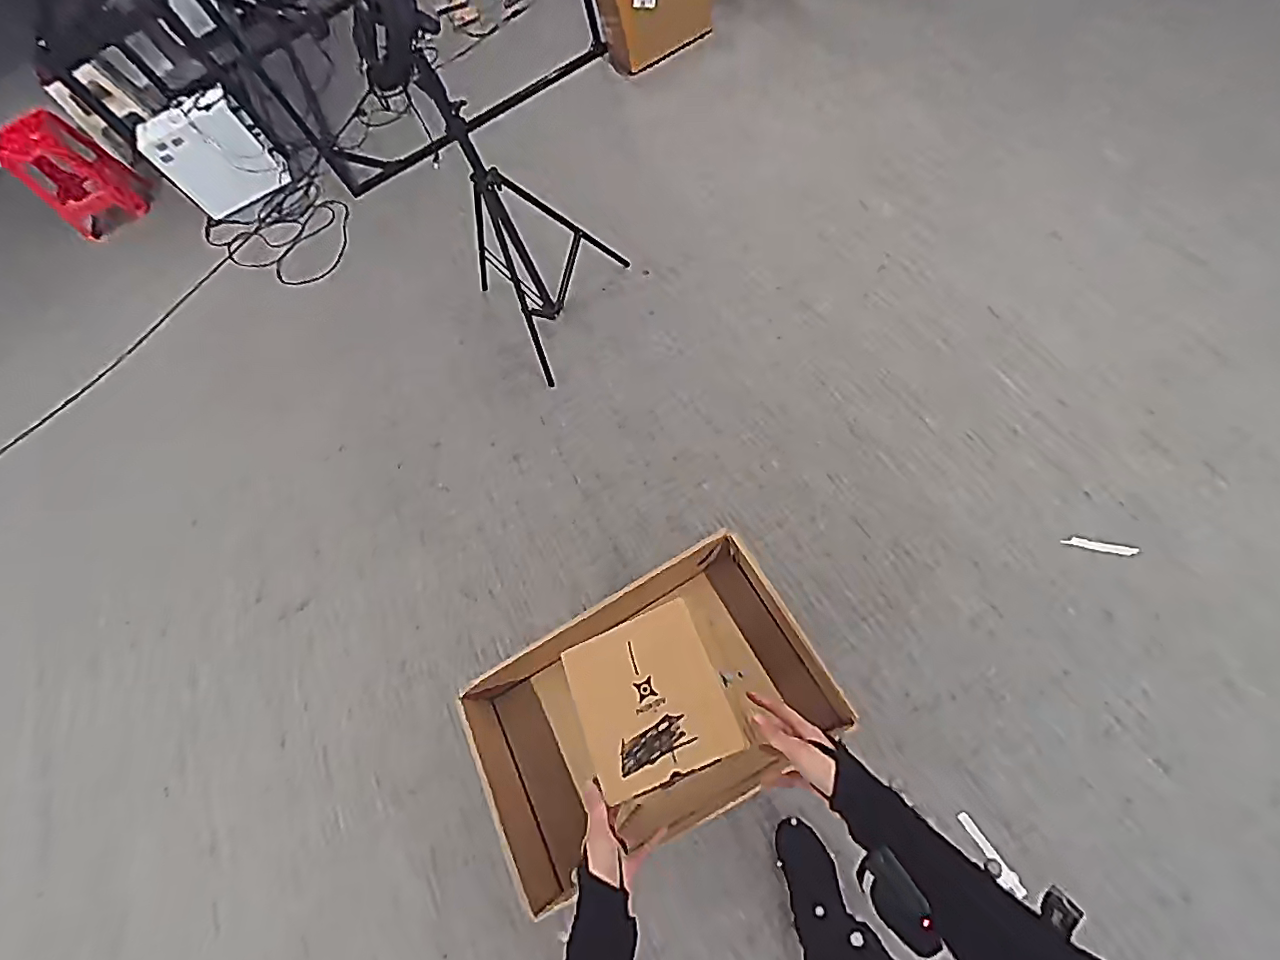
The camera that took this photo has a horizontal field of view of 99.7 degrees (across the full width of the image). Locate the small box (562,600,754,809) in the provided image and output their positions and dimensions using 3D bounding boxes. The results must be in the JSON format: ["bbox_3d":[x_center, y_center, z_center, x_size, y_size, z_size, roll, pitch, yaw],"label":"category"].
[{"bbox_3d":[0.030,0.272,0.671,0.168,0.176,0.179,-26,63,4],"label":"small box"}]
